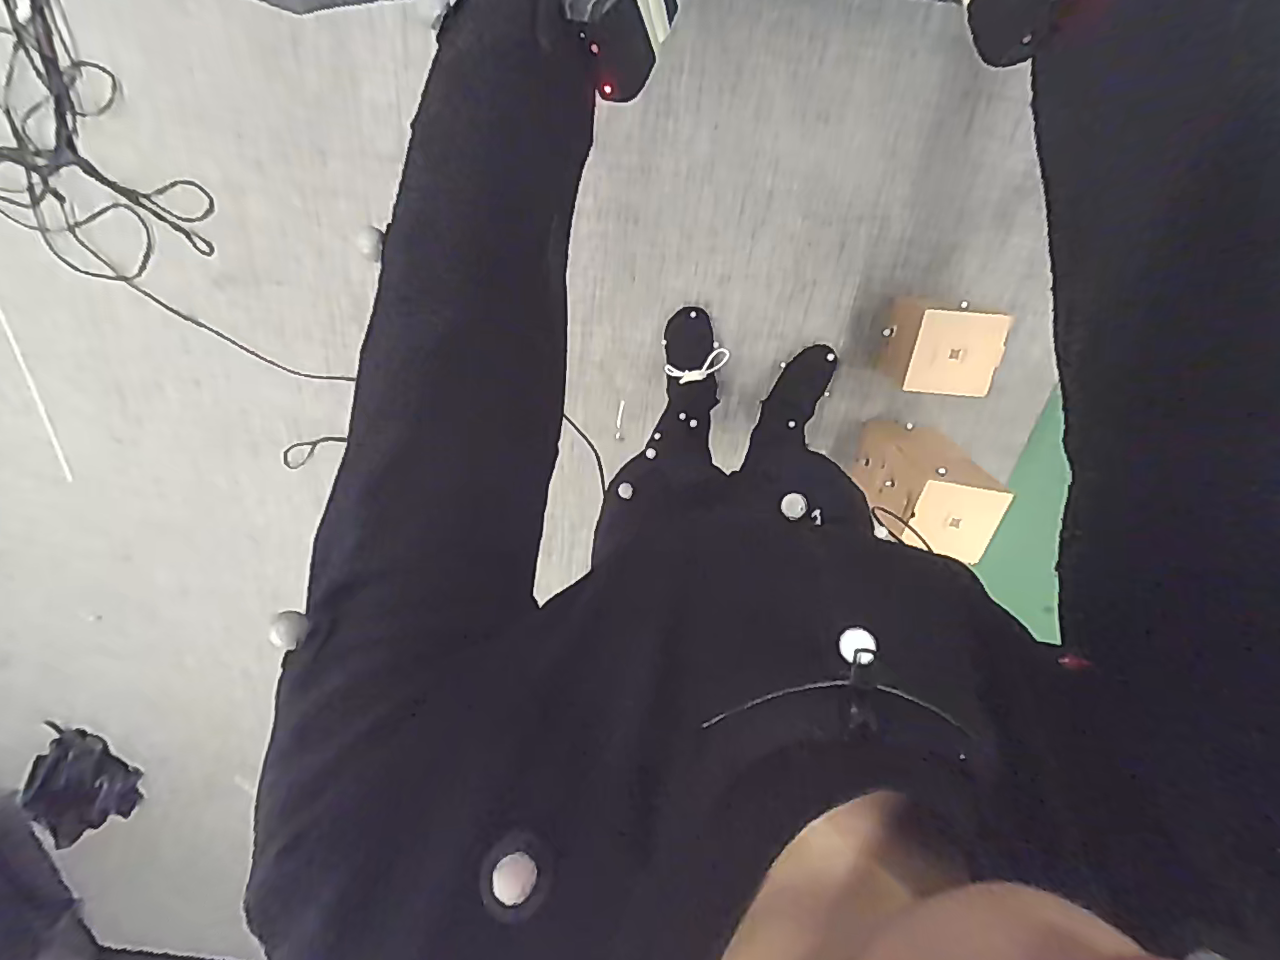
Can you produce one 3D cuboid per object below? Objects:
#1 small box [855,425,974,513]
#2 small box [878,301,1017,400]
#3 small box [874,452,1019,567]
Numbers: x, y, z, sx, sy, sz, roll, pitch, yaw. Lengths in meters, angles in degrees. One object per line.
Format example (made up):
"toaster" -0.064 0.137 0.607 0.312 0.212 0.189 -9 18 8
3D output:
"small box" 0.628 -0.019 1.266 0.179 0.176 0.168 9 117 1
"small box" 0.636 -0.279 1.142 0.179 0.176 0.168 5 115 2
"small box" 0.620 0.054 1.120 0.179 0.176 0.168 10 116 -1
